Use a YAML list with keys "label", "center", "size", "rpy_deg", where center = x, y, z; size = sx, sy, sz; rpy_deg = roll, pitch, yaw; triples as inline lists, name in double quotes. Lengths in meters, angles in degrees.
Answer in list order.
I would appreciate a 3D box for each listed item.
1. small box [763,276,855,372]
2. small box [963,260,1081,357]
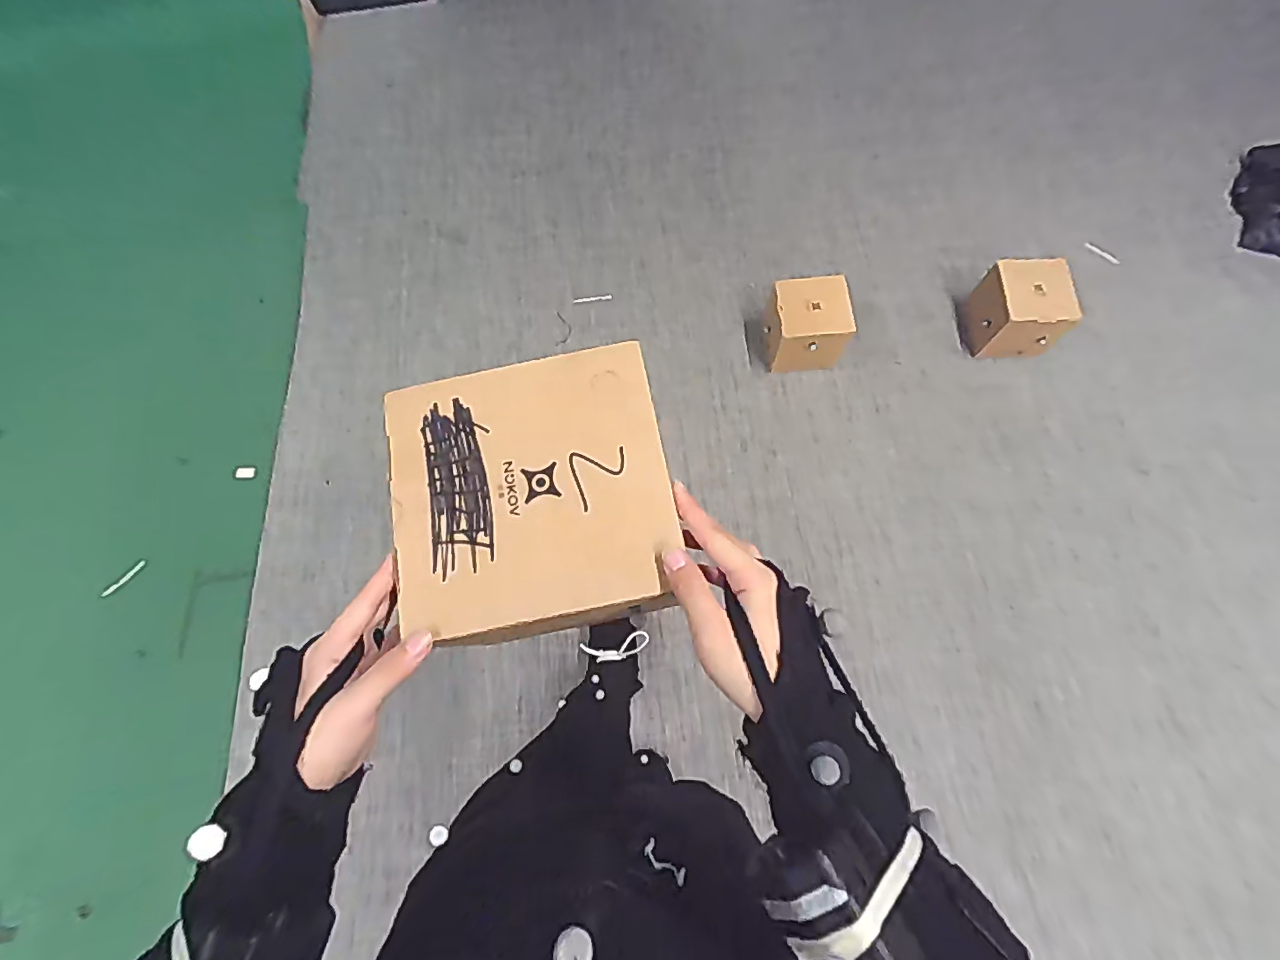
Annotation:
- label: "small box"
  center: [0.422, -0.391, 1.374]
  size: [0.179, 0.176, 0.168]
  rpy_deg: [-4, 71, 2]
- label: "small box"
  center: [0.945, -0.423, 1.354]
  size: [0.168, 0.176, 0.179]
  rpy_deg: [0, 70, 2]
